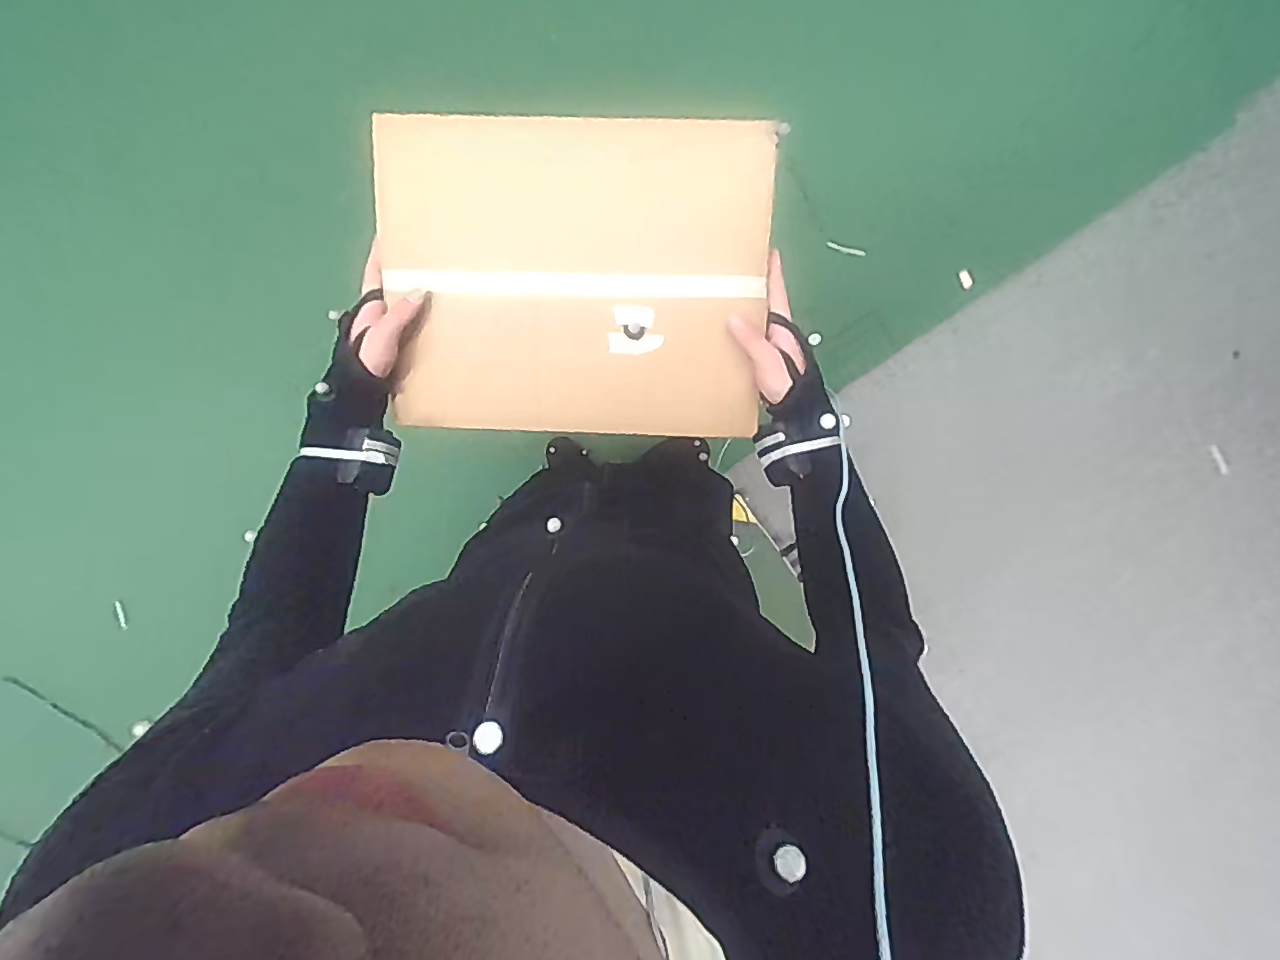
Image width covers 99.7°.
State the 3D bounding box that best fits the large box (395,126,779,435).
[{"bbox_3d":[-0.059,-0.236,0.728,0.408,0.320,0.320,3,102,1],"label":"large box"}]
